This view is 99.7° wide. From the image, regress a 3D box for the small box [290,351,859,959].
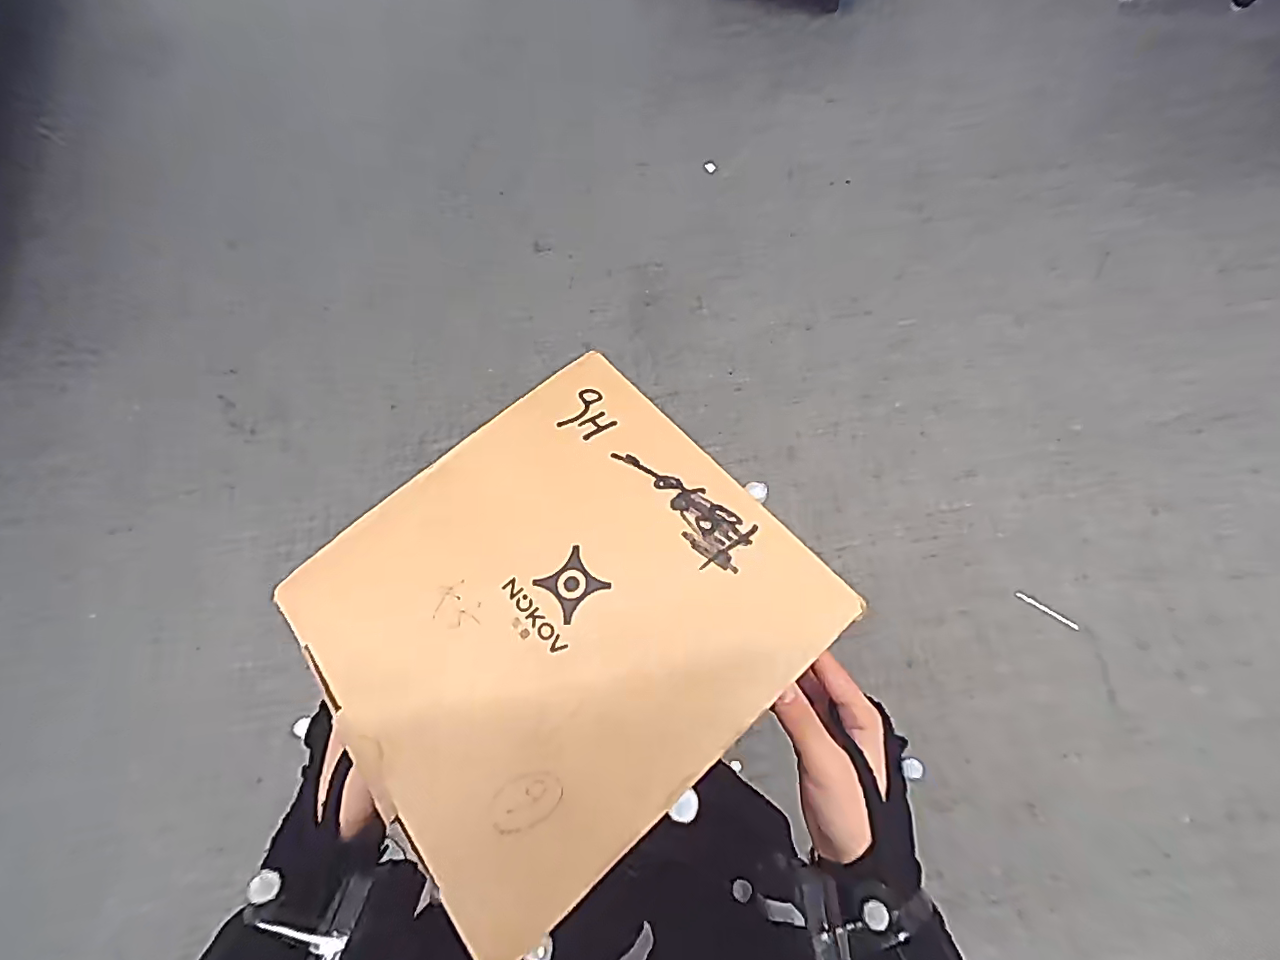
[{"bbox_3d":[-0.024,0.077,0.286,0.179,0.176,0.168,-39,68,-11],"label":"small box"}]
